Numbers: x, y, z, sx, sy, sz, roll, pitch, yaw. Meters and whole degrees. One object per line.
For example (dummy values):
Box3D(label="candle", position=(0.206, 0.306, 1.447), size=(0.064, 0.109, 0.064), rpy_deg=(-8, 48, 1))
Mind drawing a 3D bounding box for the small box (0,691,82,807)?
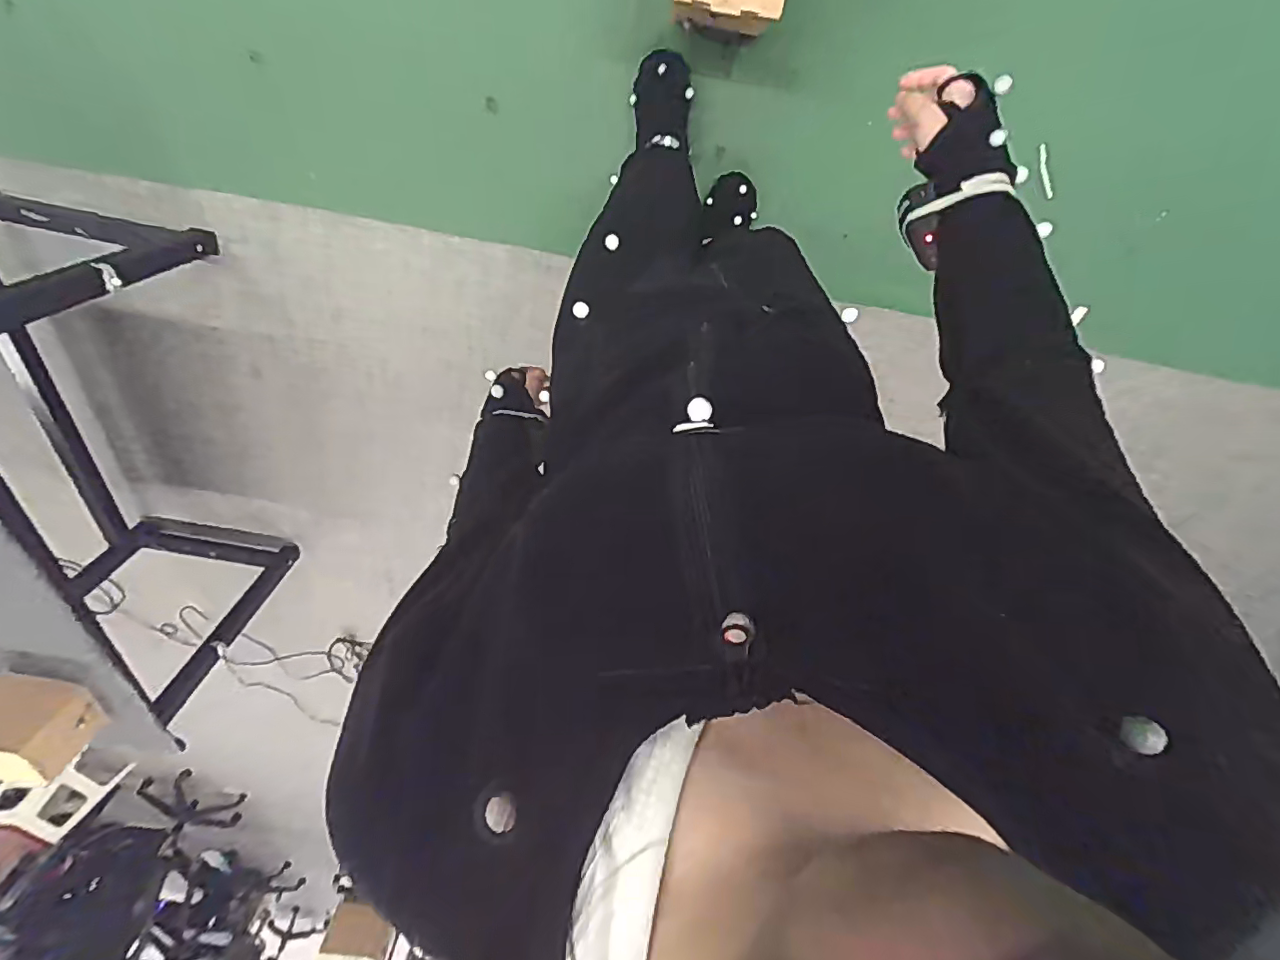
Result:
Box3D(label="small box", position=(-1.429, 0.592, 1.204), size=(0.179, 0.176, 0.168), rpy_deg=(12, 126, -6))

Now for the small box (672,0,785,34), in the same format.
Box3D(label="small box", position=(0.140, -0.795, 0.804), size=(0.168, 0.176, 0.179), rpy_deg=(9, 126, -3))
